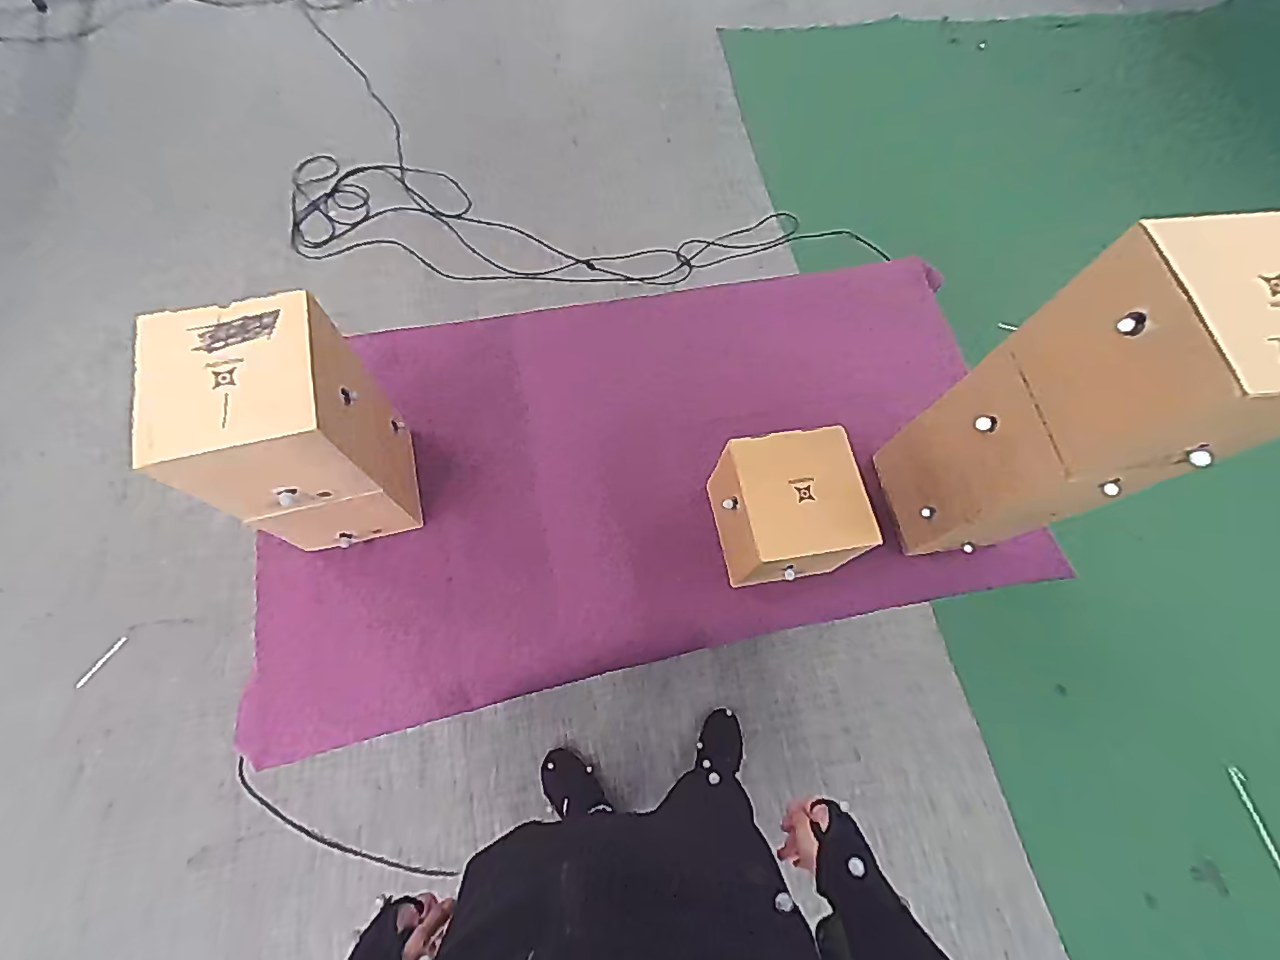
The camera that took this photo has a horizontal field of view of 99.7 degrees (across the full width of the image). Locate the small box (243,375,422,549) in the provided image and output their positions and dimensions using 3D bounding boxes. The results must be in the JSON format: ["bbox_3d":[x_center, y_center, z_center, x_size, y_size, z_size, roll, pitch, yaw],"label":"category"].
[{"bbox_3d":[-0.425,-0.019,0.766,0.168,0.176,0.179,-13,71,-8],"label":"small box"}]

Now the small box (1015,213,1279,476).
[{"bbox_3d":[0.506,-0.120,0.511,0.168,0.176,0.179,-6,69,-5],"label":"small box"}]

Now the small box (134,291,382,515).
[{"bbox_3d":[-0.414,-0.079,0.613,0.168,0.176,0.179,-13,71,-8],"label":"small box"}]

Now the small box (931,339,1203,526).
[{"bbox_3d":[0.497,-0.057,0.664,0.168,0.176,0.179,-6,68,-5],"label":"small box"}]

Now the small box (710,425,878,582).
[{"bbox_3d":[0.208,0.043,0.785,0.168,0.176,0.179,-8,68,-7],"label":"small box"}]
